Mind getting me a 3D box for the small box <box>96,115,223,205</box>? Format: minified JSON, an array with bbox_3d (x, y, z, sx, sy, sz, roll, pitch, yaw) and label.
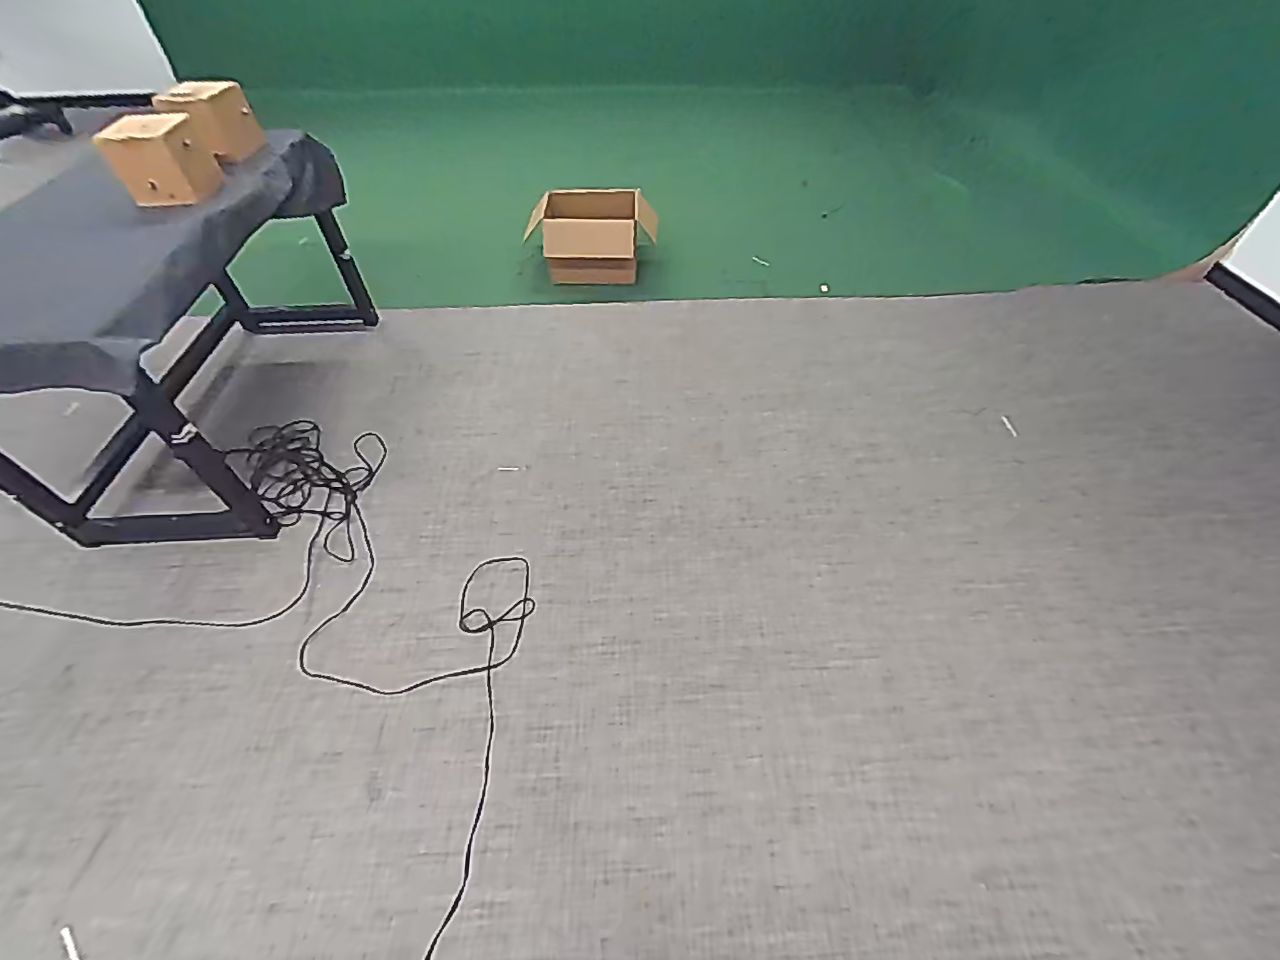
[{"bbox_3d":[-1.287,-0.868,1.468,0.168,0.176,0.179,-4,51,-3],"label":"small box"}]
